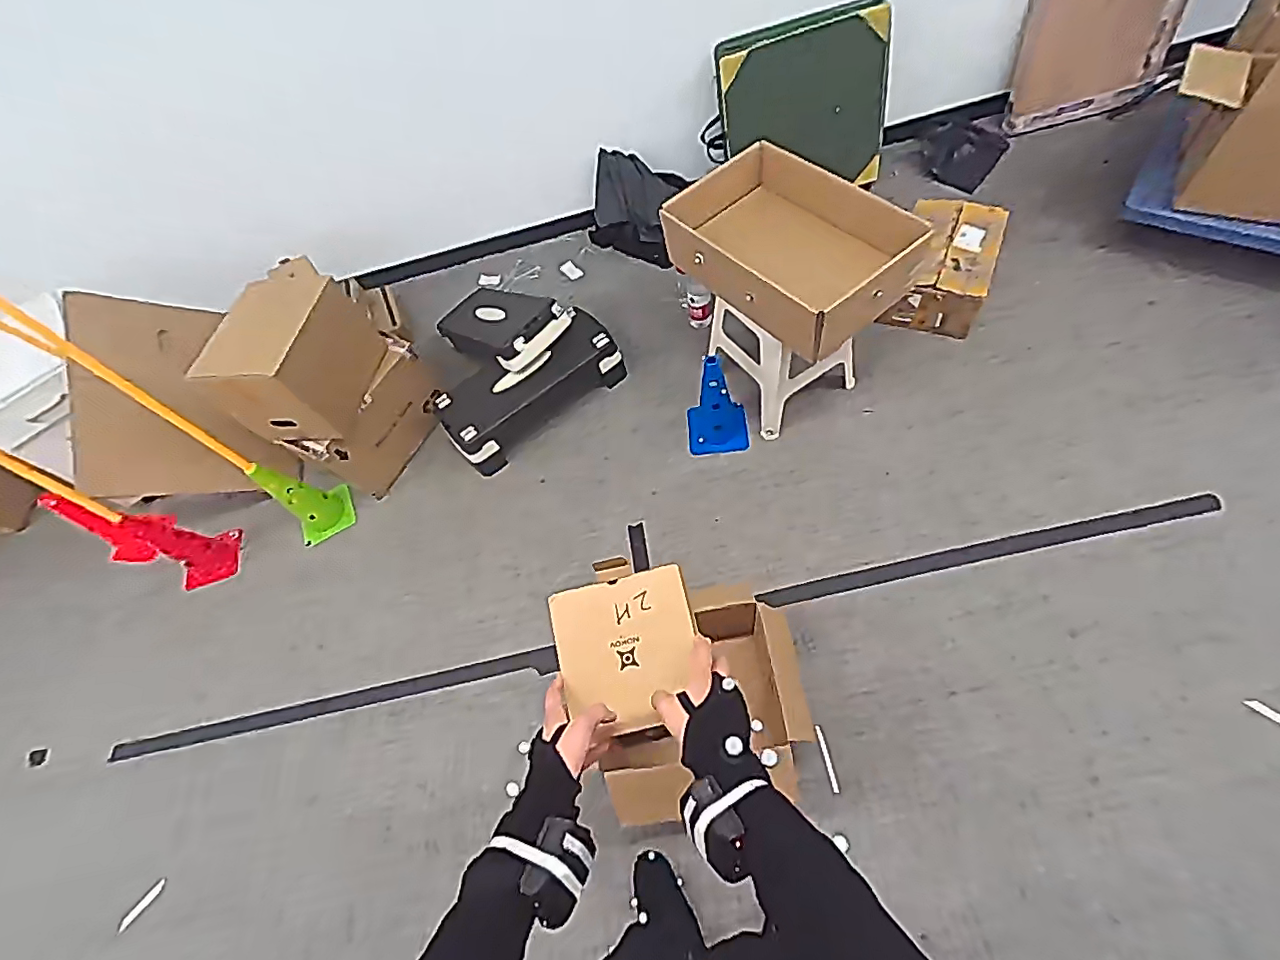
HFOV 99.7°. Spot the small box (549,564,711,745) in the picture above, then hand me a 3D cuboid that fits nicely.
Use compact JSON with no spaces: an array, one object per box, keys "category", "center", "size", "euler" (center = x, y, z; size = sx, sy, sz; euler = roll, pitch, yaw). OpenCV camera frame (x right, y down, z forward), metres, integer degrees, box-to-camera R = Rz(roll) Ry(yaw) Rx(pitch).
[{"category":"small box","center":[-0.006,0.223,0.704],"size":[0.168,0.176,0.179],"euler":[-14,70,3]}]
